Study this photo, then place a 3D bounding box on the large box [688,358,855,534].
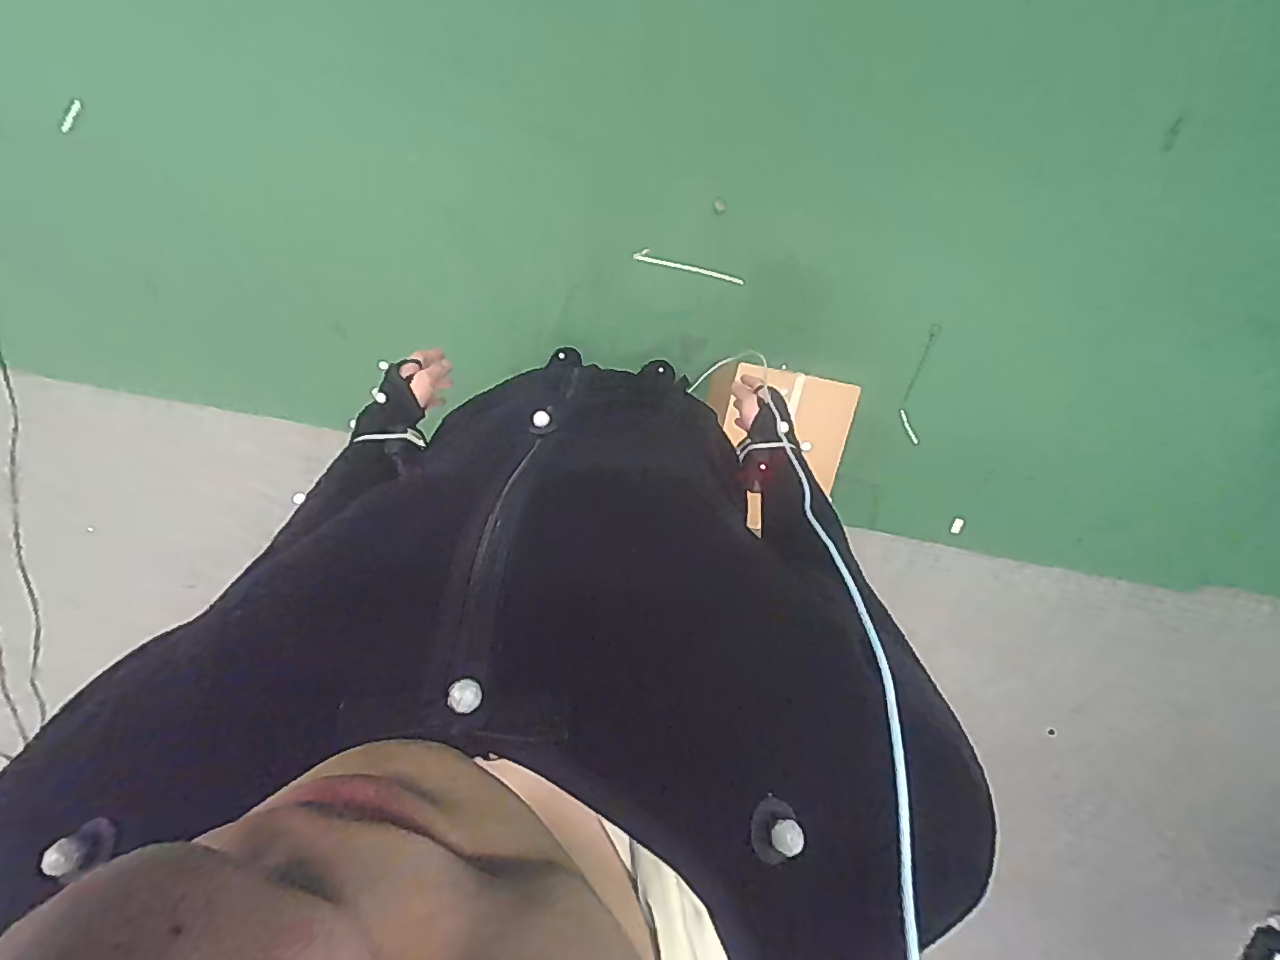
[{"bbox_3d":[0.338,-0.108,1.503,0.320,0.320,0.408,10,104,-5],"label":"large box"}]
